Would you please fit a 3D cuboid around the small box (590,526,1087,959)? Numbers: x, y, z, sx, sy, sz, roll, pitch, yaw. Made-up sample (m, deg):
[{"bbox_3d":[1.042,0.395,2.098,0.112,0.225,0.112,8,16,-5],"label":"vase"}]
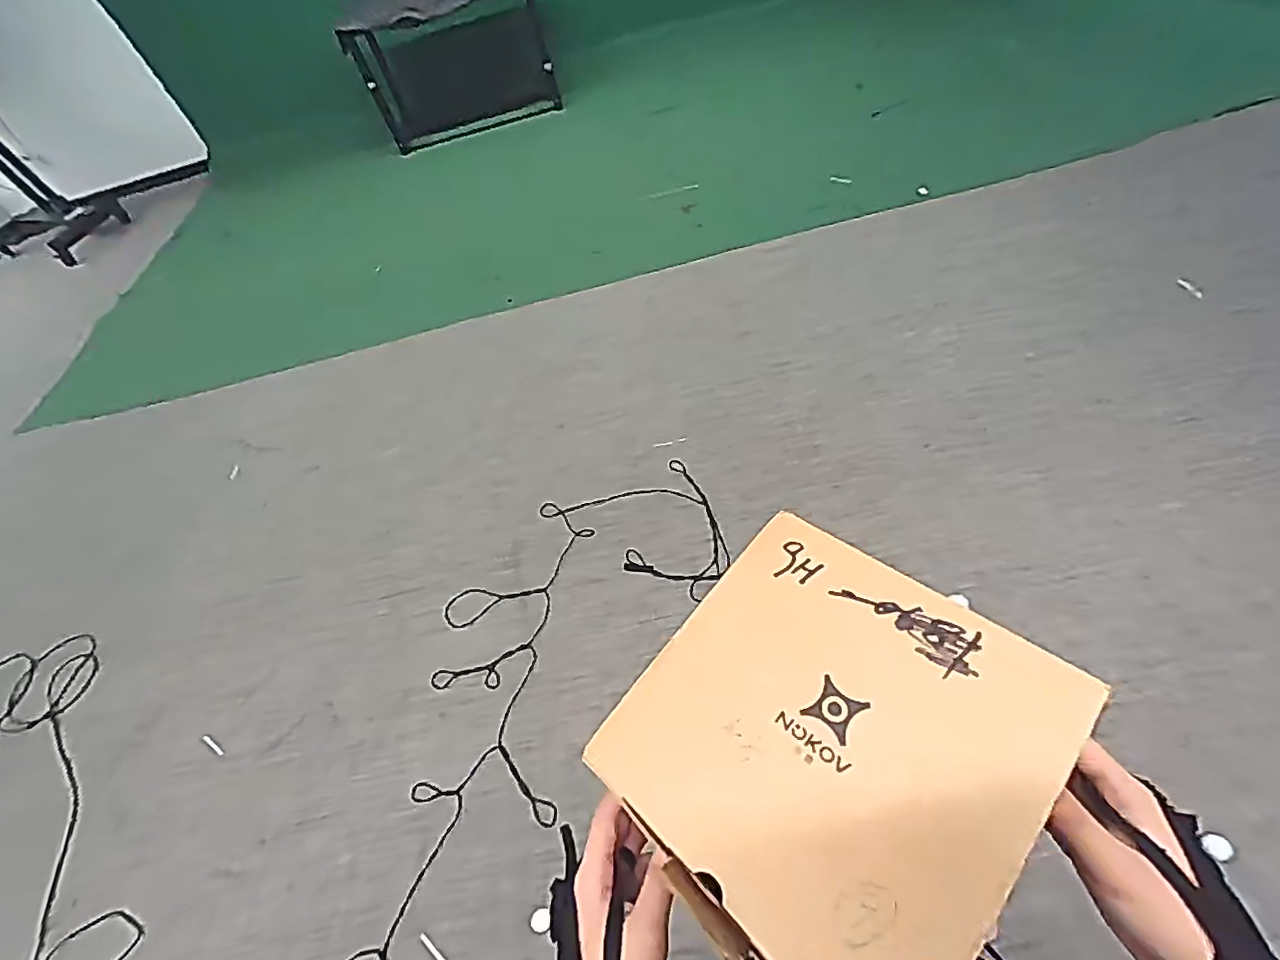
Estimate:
[{"bbox_3d":[0.107,0.167,0.319,0.168,0.176,0.179,32,69,35],"label":"small box"}]
